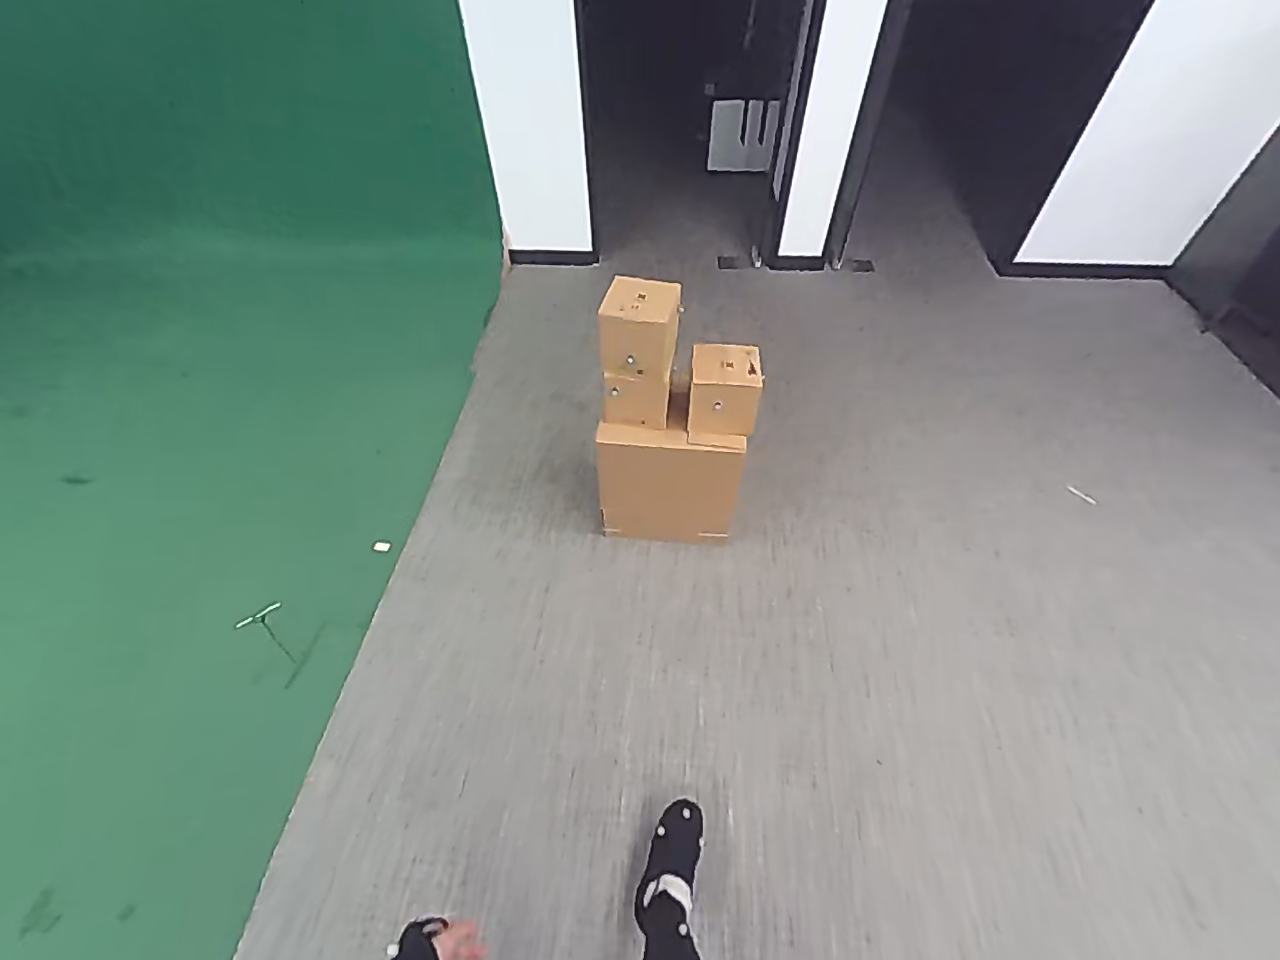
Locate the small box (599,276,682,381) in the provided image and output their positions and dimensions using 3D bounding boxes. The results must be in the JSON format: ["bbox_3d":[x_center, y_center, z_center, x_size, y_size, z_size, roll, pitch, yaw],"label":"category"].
[{"bbox_3d":[0.003,-0.373,1.334,0.168,0.176,0.179,11,51,9],"label":"small box"}]
